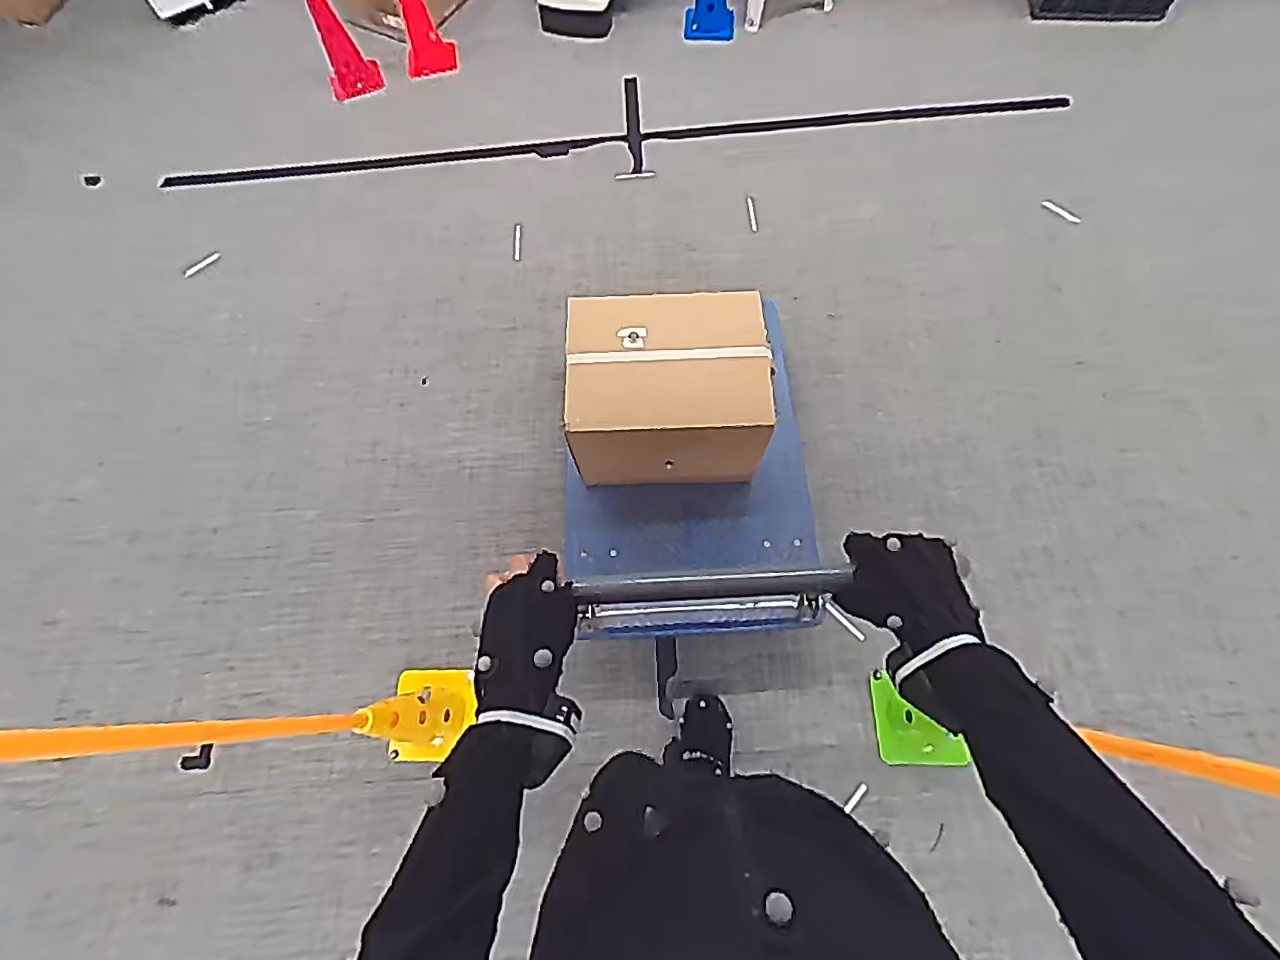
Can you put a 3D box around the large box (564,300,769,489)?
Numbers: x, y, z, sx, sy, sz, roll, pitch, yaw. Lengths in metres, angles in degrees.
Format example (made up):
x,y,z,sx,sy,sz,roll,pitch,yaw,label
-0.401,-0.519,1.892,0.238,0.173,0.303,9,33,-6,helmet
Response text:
x,y,z,sx,sy,sz,roll,pitch,yaw,label
0.055,-0.175,1.231,0.408,0.320,0.320,-2,69,2,large box

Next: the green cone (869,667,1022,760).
x,y,z,sx,sy,sz,roll,pitch,yaw,label
0.640,0.478,1.099,0.202,0.368,0.200,0,69,1,green cone
